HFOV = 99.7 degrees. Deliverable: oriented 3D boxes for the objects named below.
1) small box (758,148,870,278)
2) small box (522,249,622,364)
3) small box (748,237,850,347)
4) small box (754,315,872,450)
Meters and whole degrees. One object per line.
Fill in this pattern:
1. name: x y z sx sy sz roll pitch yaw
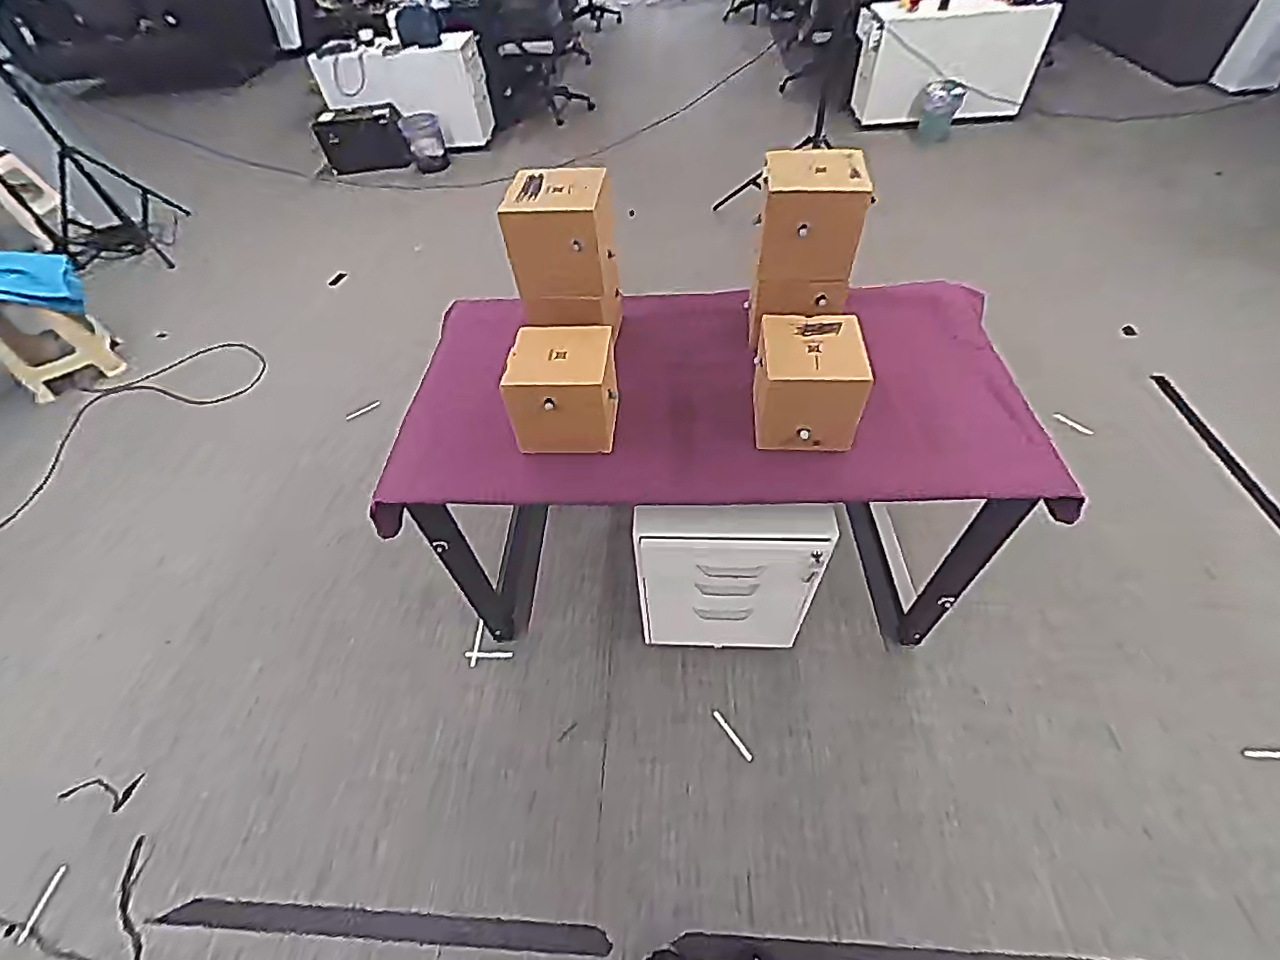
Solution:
1. small box: 0.315 -0.499 1.019 0.179 0.176 0.168 3 53 8
2. small box: -0.137 -0.376 1.171 0.168 0.176 0.179 3 54 9
3. small box: 0.327 -0.396 1.146 0.179 0.176 0.168 2 52 7
4. small box: 0.297 -0.175 0.971 0.168 0.176 0.179 1 51 7
